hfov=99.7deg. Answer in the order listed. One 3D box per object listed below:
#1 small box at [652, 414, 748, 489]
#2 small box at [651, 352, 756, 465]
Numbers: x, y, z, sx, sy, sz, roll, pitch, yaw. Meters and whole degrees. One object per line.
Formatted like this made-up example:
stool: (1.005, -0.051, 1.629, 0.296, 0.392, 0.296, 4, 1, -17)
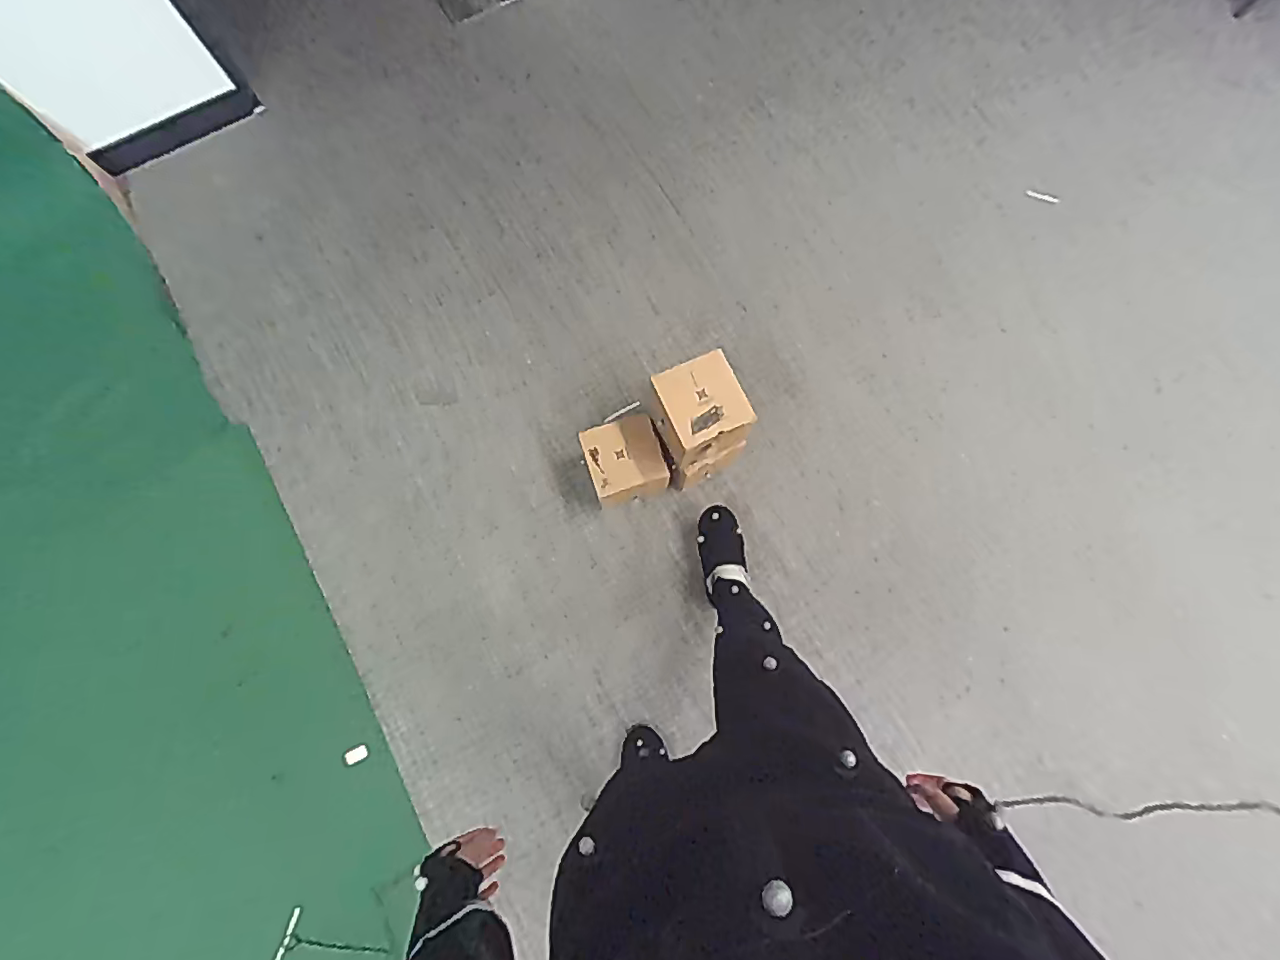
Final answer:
small box: (0.139, -0.100, 1.344, 0.168, 0.176, 0.179, -29, 79, -6)
small box: (0.131, -0.146, 1.186, 0.168, 0.176, 0.179, -24, 78, -5)
